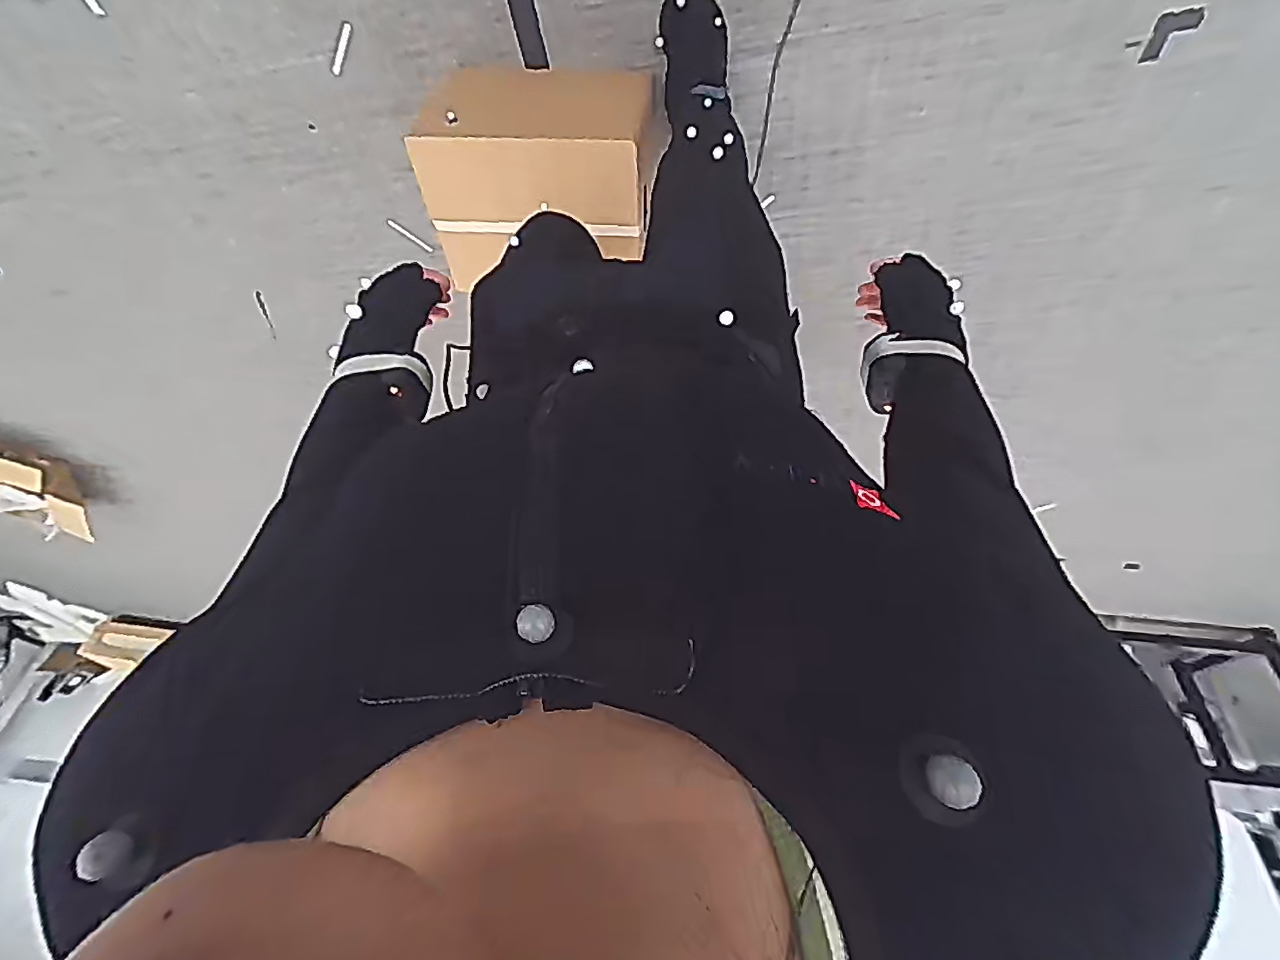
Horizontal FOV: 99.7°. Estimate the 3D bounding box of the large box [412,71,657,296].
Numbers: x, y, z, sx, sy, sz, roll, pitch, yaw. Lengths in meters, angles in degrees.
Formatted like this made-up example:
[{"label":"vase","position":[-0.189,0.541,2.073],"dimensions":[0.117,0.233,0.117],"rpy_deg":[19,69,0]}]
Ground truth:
[{"label":"large box","position":[-0.178,-0.607,1.113],"dimensions":[0.408,0.320,0.320],"rpy_deg":[4,146,5]}]
